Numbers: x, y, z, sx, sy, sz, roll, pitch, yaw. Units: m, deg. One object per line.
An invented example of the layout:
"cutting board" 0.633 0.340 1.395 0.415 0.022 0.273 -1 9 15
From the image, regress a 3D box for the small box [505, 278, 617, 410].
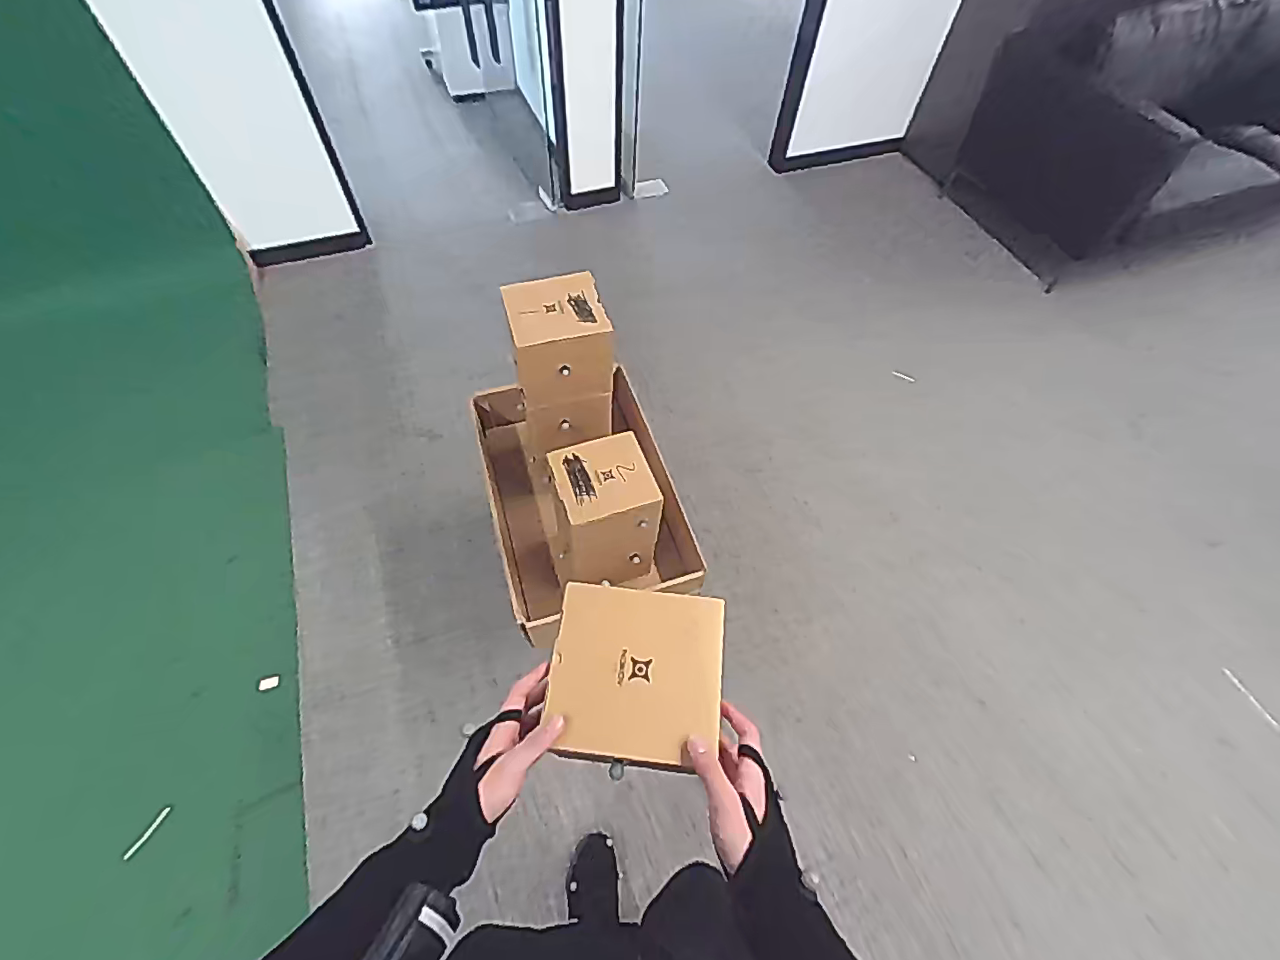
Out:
"small box" -0.151 -0.259 1.045 0.179 0.176 0.168 -13 61 -12

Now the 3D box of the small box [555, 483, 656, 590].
"small box" -0.079 0.135 1.185 0.179 0.176 0.168 -15 59 -13

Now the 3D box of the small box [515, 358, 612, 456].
"small box" -0.163 -0.172 1.185 0.179 0.176 0.168 -13 61 -11

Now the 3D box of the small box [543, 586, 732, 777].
"small box" 0.002 0.234 0.615 0.179 0.176 0.168 6 60 3

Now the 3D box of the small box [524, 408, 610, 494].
"small box" -0.175 -0.082 1.322 0.179 0.176 0.168 -11 60 -12
